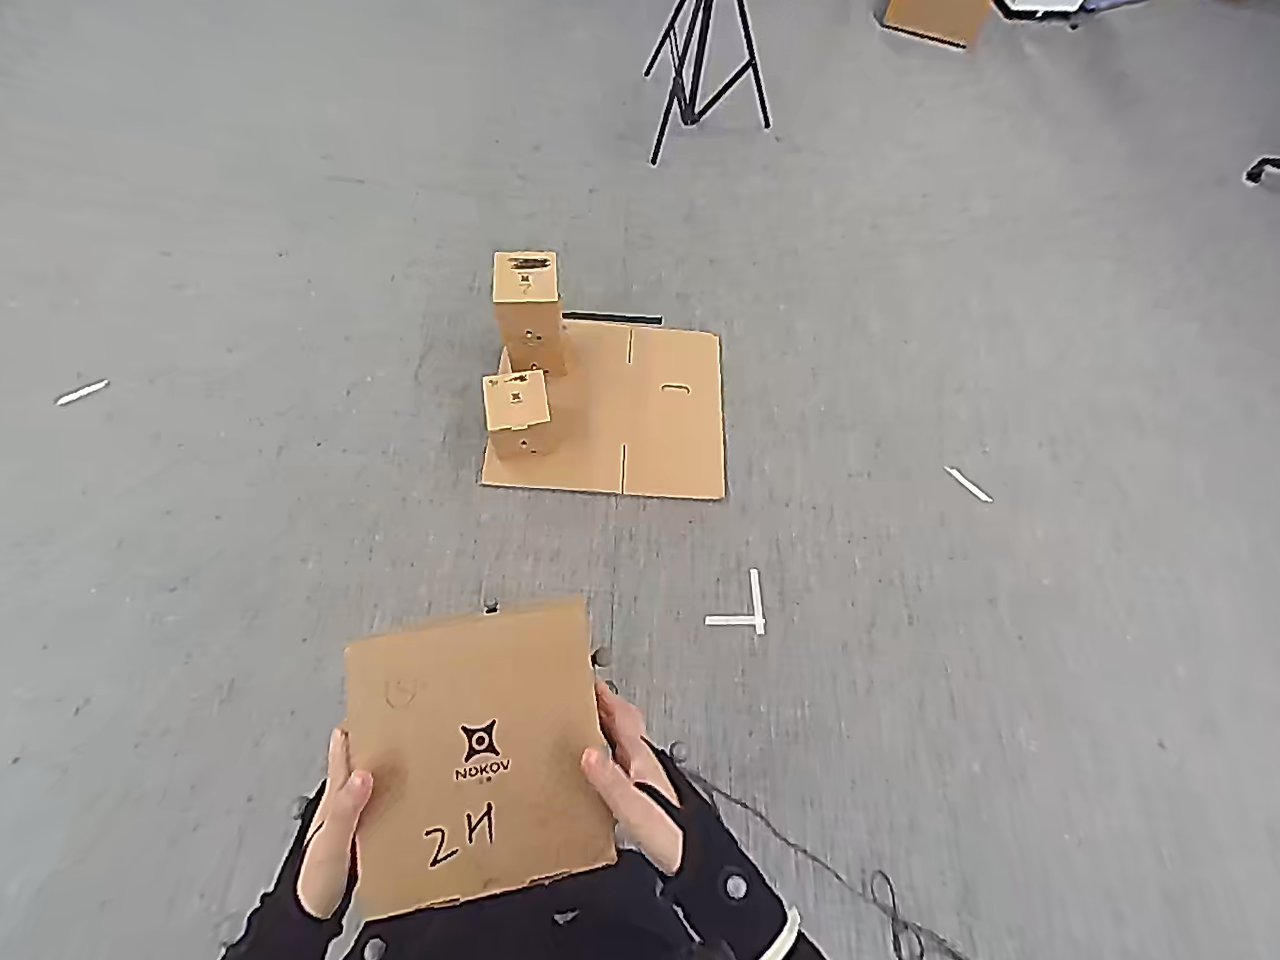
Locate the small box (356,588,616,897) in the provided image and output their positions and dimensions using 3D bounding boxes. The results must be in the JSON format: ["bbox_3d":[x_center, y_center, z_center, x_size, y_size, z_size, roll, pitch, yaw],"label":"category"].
[{"bbox_3d":[-0.117,0.186,0.445,0.168,0.176,0.179,-6,81,-9],"label":"small box"}]

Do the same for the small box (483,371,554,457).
[{"bbox_3d":[-0.336,-0.177,1.513,0.168,0.176,0.179,-9,67,-9],"label":"small box"}]

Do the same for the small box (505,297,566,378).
[{"bbox_3d":[-0.314,-0.428,1.637,0.168,0.176,0.179,-6,66,-7],"label":"small box"}]
